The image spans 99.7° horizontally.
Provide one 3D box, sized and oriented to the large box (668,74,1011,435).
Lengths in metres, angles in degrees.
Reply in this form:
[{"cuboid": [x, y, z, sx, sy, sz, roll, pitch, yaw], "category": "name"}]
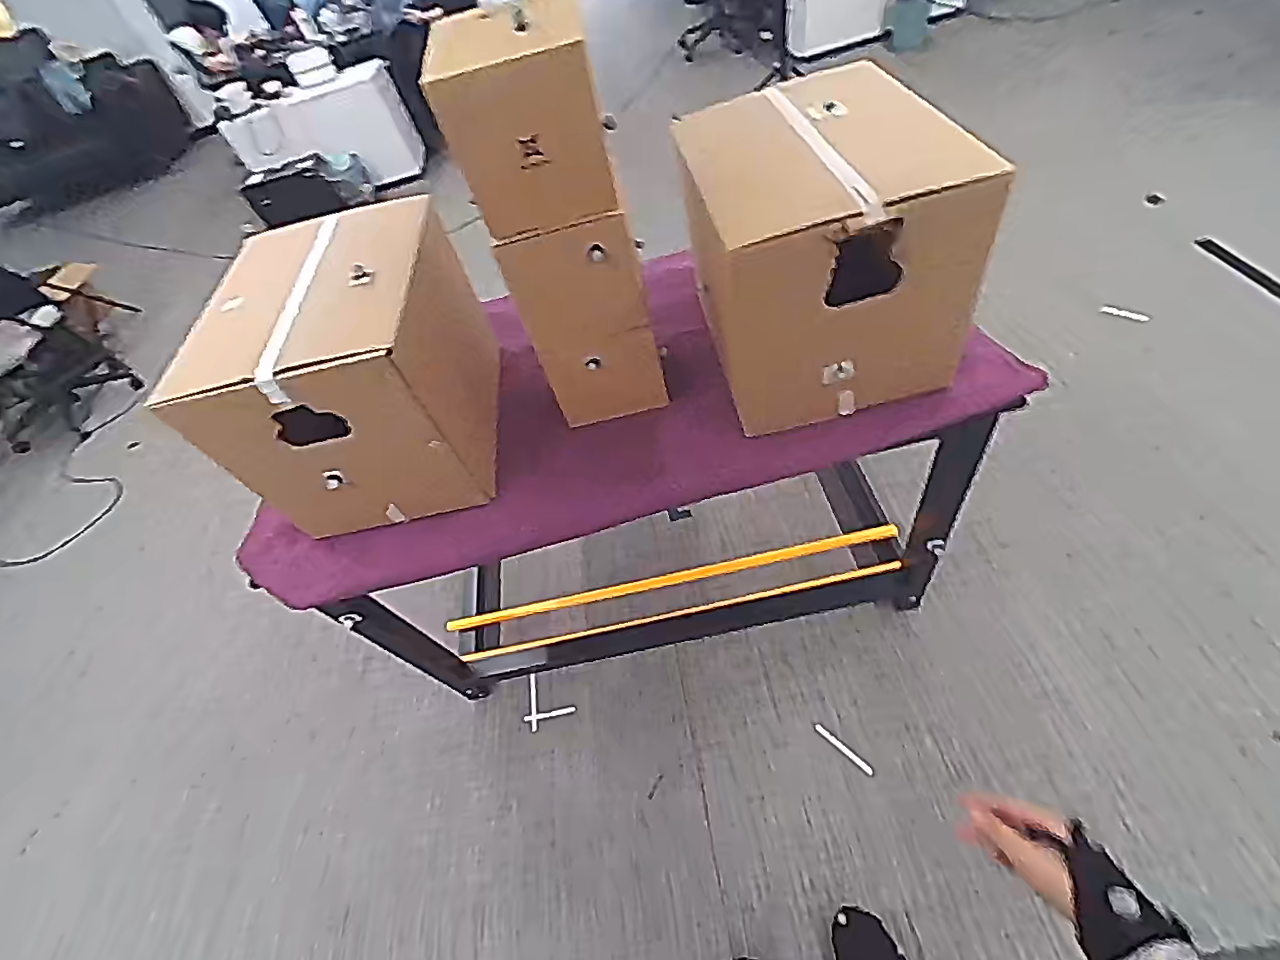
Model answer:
[{"cuboid": [0.251, -0.337, 0.816, 0.320, 0.320, 0.408, -13, 50, 4], "category": "large box"}]
